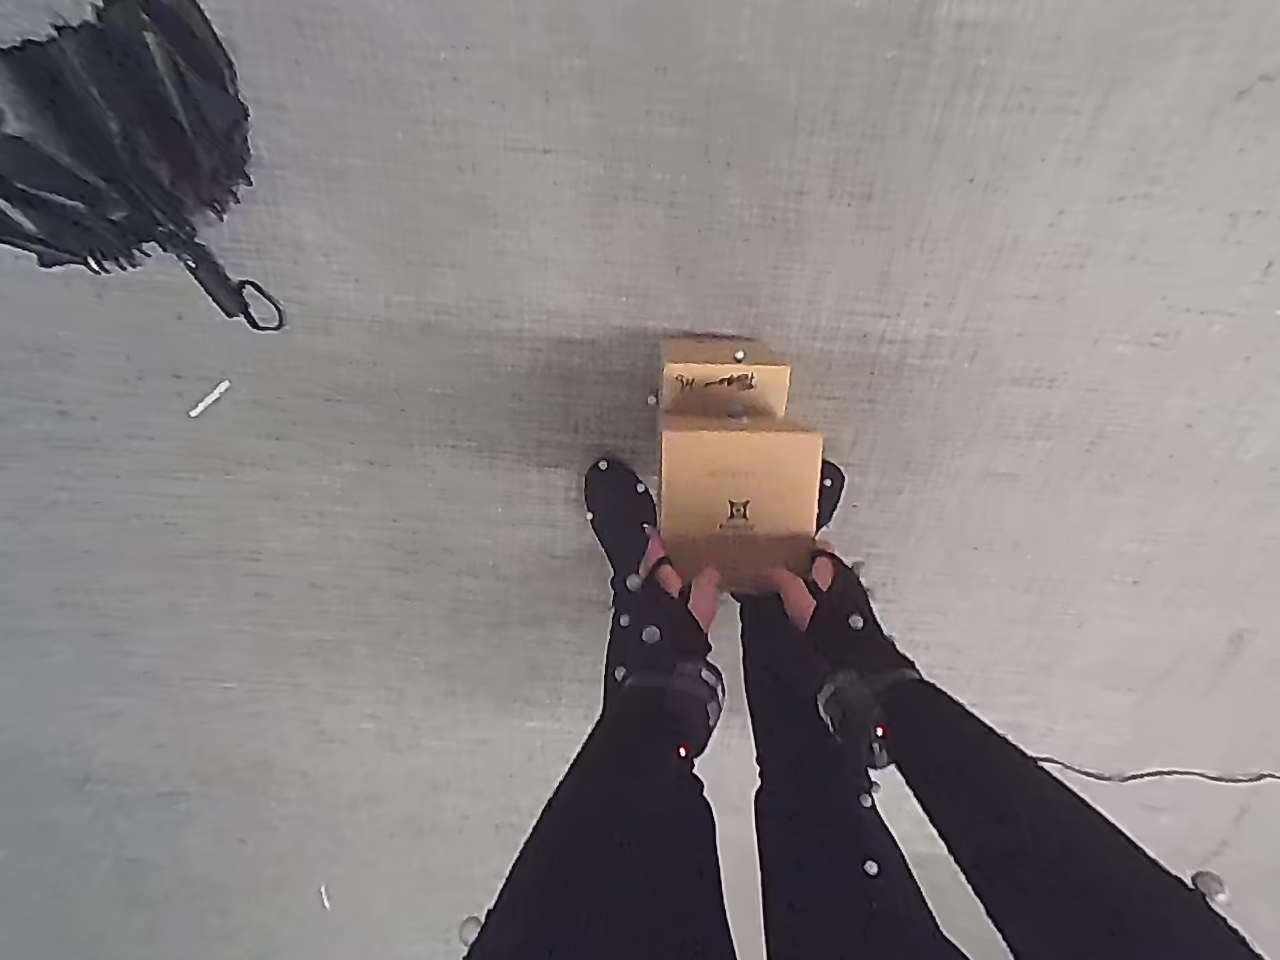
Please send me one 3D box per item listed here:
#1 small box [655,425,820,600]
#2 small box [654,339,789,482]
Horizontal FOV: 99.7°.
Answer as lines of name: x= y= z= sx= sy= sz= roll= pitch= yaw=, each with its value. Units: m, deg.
small box: x=0.104 y=0.030 z=0.651 sx=0.168 sy=0.176 sz=0.179 roll=0 pitch=100 yaw=0
small box: x=0.109 y=-0.101 z=0.808 sx=0.168 sy=0.176 sz=0.179 roll=2 pitch=116 yaw=-2
